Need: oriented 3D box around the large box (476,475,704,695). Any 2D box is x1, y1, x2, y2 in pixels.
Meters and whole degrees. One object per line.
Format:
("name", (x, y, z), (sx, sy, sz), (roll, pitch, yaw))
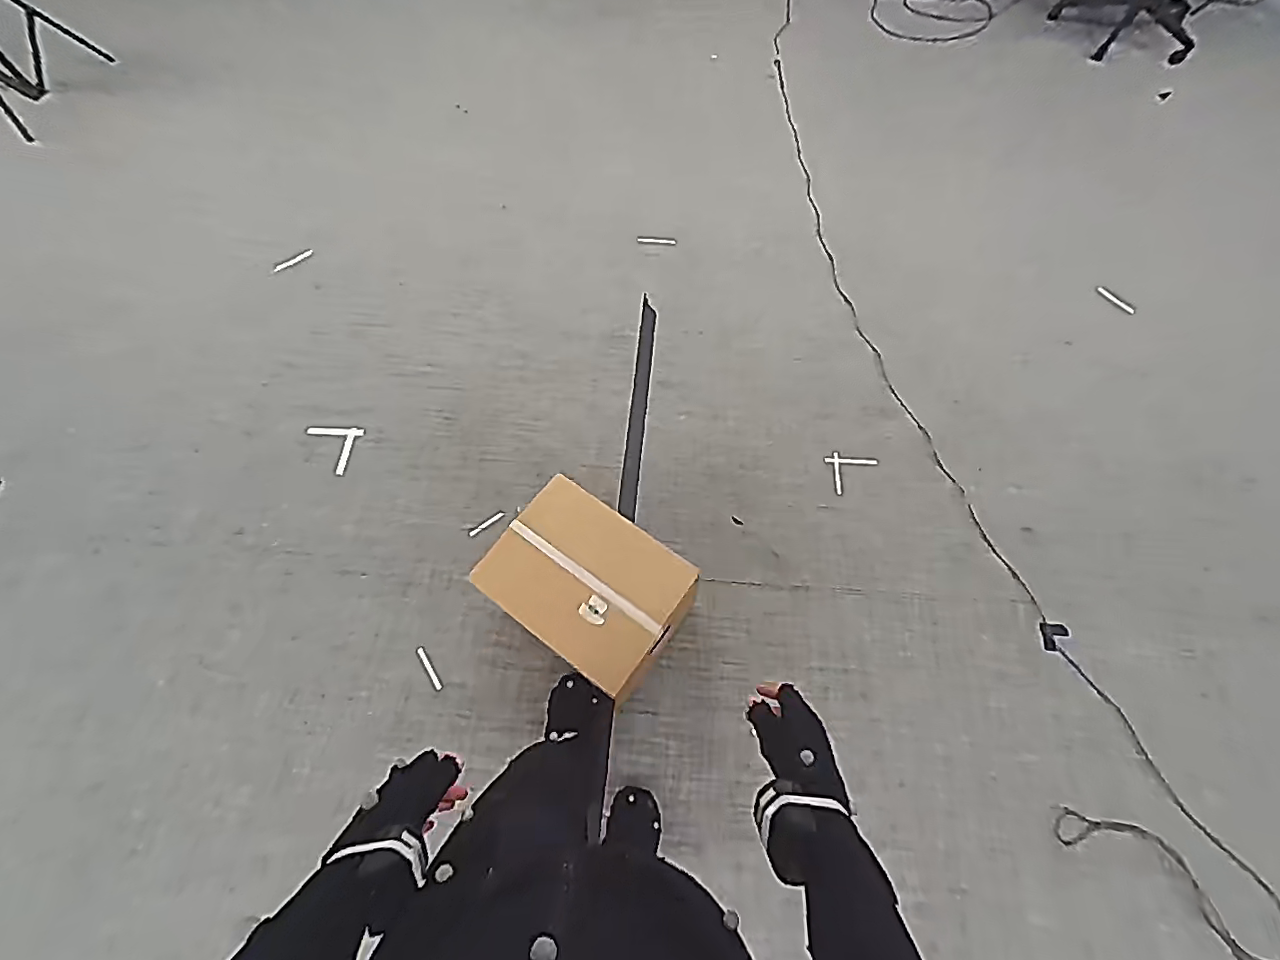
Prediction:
("large box", (-0.110, 0.260, 1.303), (0.408, 0.320, 0.320), (33, 70, 14))
